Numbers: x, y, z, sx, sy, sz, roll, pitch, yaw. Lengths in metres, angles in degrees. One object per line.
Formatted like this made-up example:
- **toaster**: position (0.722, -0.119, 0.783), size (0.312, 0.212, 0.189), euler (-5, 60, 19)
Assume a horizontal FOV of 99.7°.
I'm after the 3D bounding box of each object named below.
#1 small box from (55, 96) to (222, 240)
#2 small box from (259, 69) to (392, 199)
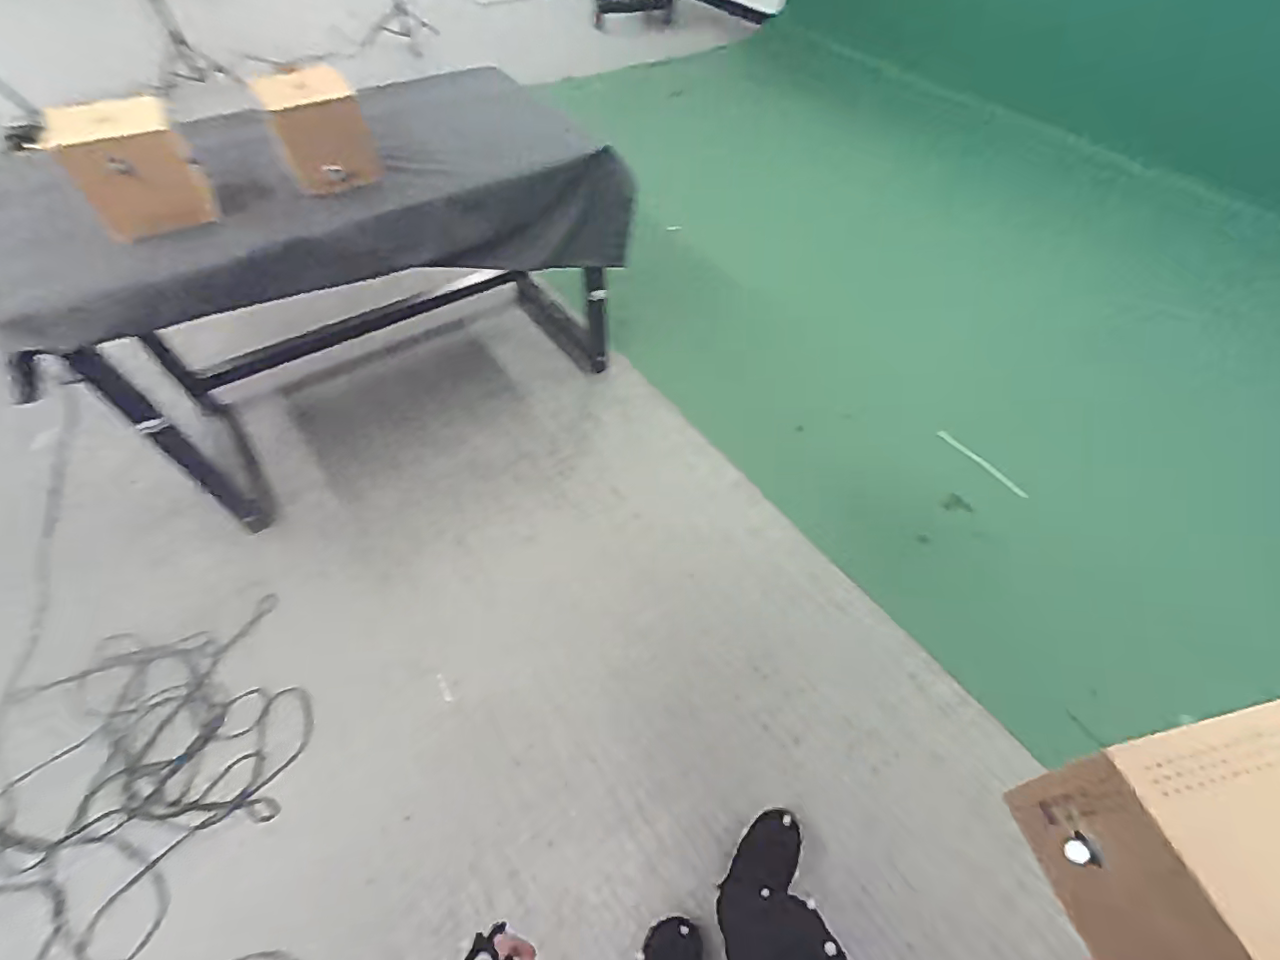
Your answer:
- **small box**: position (-0.923, -0.583, 1.014), size (0.179, 0.176, 0.168), euler (-24, 58, -19)
- **small box**: position (-0.651, -0.721, 1.130), size (0.168, 0.176, 0.179), euler (-29, 60, -20)
